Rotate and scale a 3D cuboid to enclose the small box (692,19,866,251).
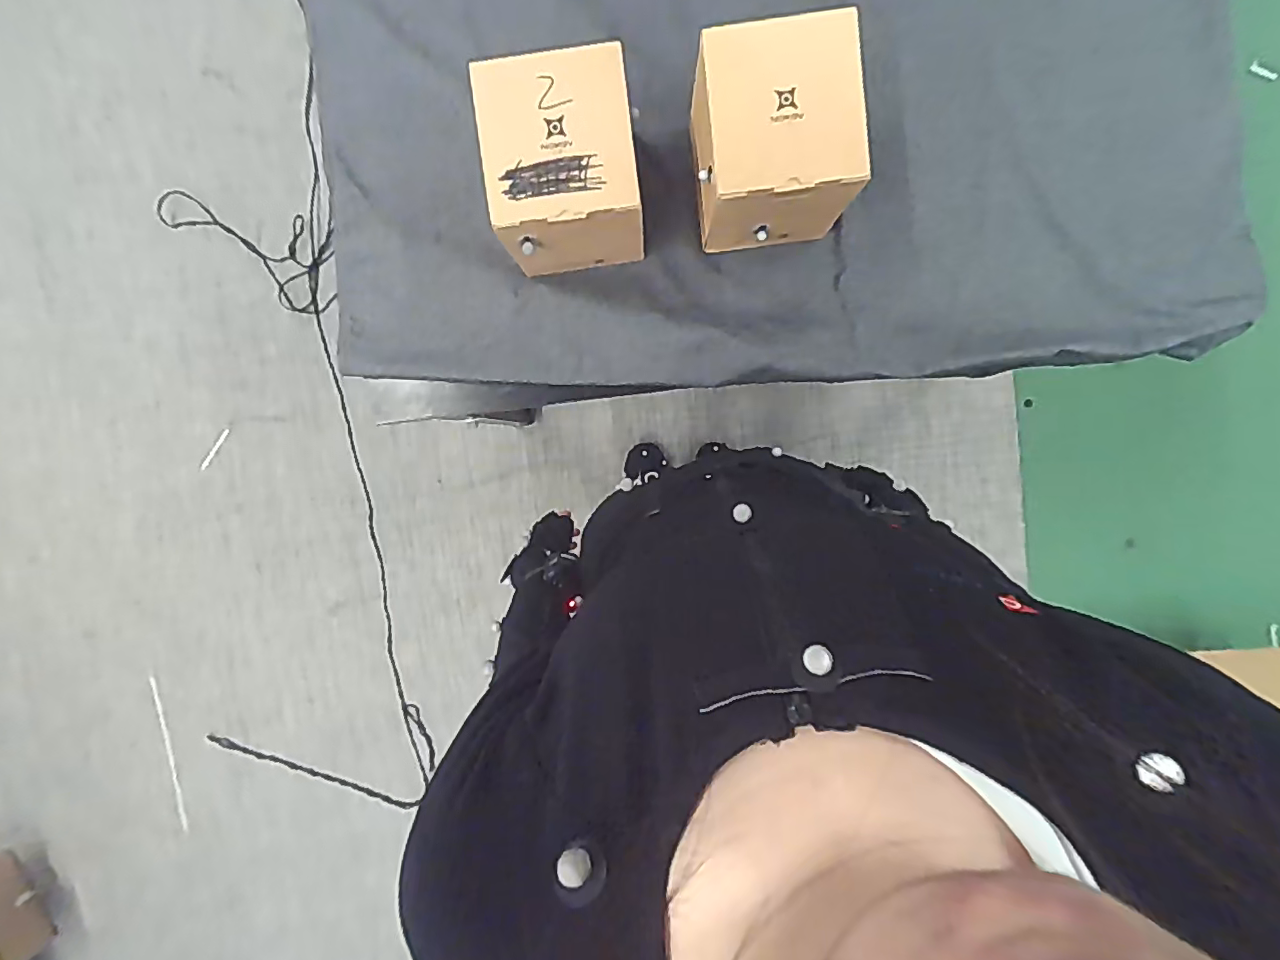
[{"bbox_3d":[0.158,-0.407,0.667,0.168,0.176,0.179,-7,95,2],"label":"small box"}]
